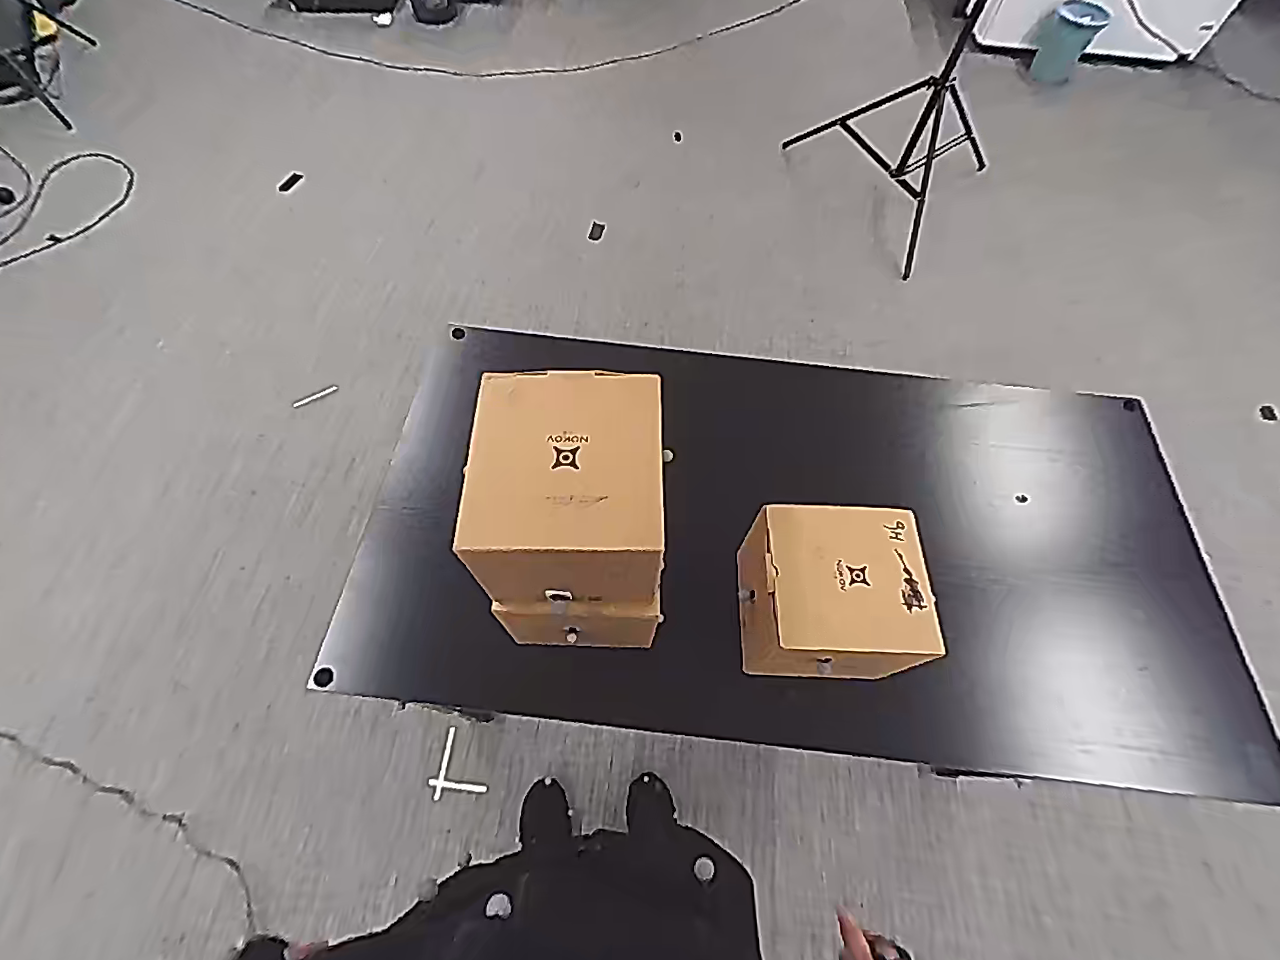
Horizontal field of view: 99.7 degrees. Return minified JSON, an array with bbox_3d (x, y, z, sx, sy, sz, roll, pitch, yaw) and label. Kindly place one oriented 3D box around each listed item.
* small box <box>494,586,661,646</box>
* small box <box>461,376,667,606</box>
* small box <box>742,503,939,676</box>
[{"bbox_3d":[-0.066,0.105,0.672,0.179,0.176,0.168,2,61,0],"label":"small box"},{"bbox_3d":[-0.062,0.017,0.535,0.168,0.176,0.179,-1,63,-1],"label":"small box"},{"bbox_3d":[0.224,0.141,0.665,0.179,0.176,0.168,2,61,0],"label":"small box"}]
